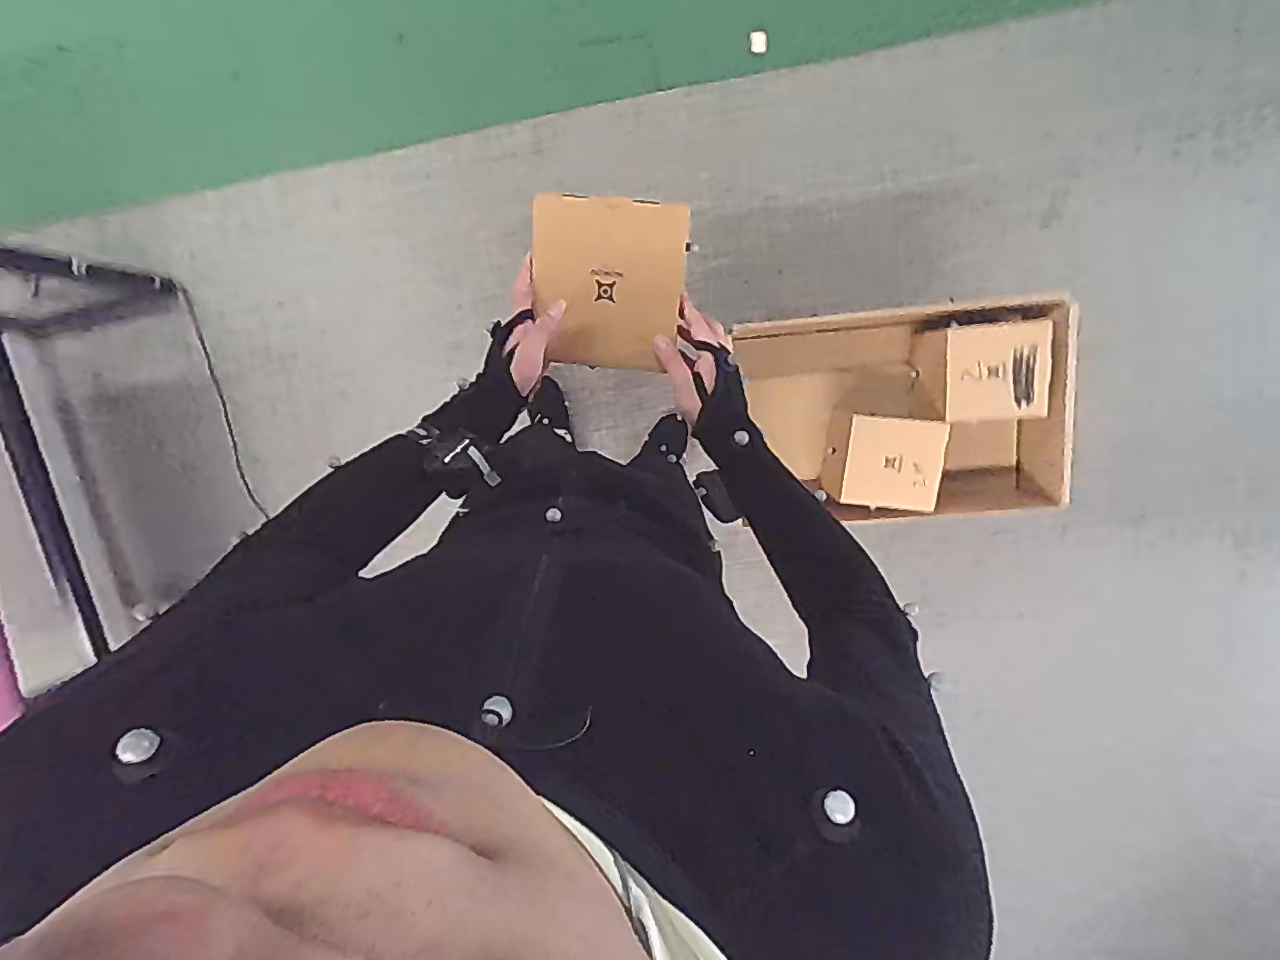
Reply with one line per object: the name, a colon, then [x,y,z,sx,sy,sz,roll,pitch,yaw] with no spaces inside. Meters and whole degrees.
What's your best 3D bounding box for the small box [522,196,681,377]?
small box: [-0.040,-0.231,0.655,0.168,0.176,0.179,5,110,3]
